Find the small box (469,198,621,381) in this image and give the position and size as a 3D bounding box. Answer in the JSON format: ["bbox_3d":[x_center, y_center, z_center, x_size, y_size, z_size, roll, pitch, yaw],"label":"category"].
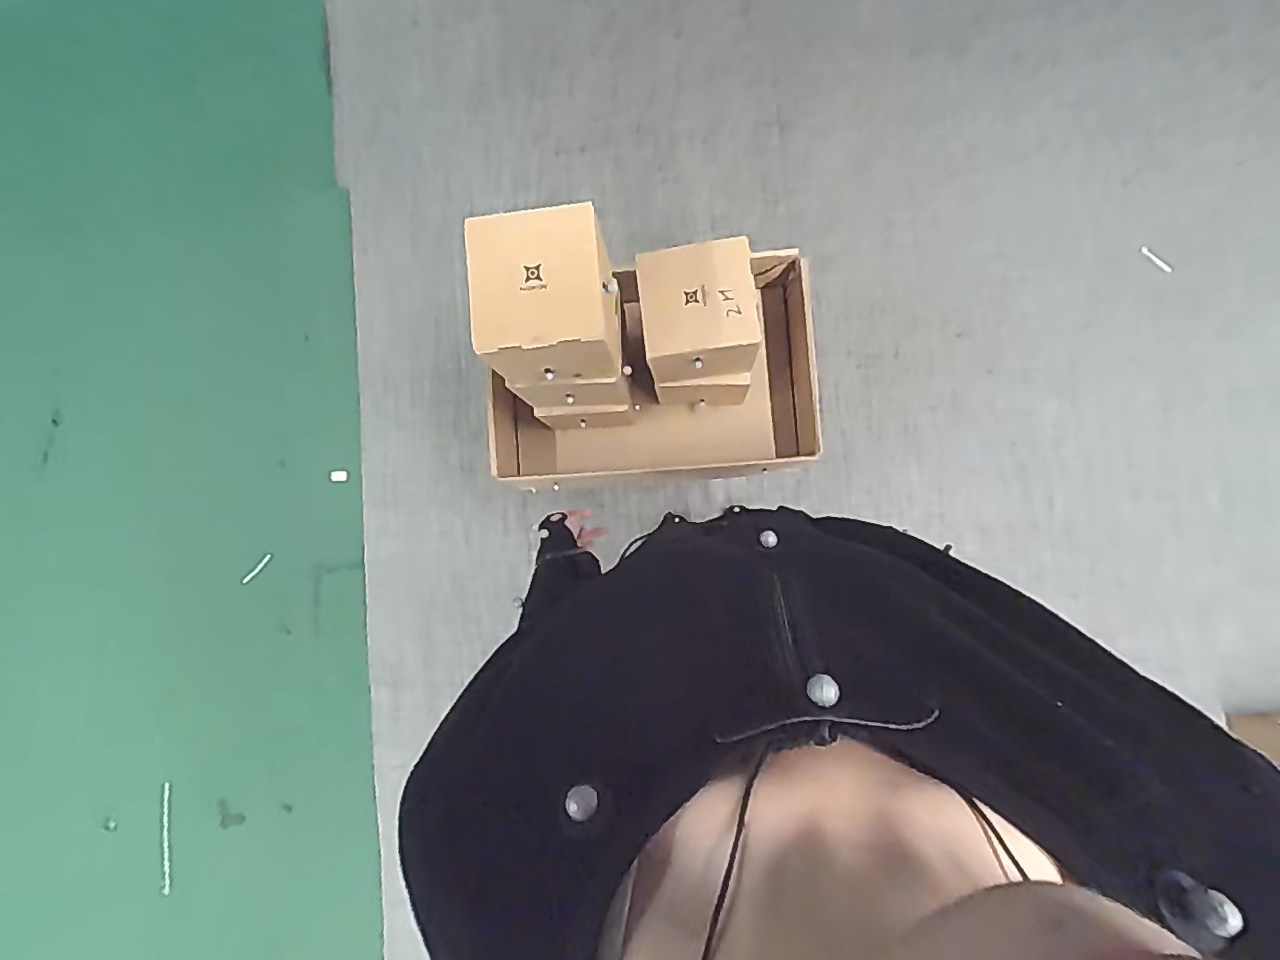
[{"bbox_3d":[-0.121,-0.248,0.740,0.168,0.176,0.179,-6,86,4],"label":"small box"}]

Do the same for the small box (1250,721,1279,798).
[{"bbox_3d":[1.588,0.668,1.251,0.168,0.176,0.179,-6,85,6],"label":"small box"}]
